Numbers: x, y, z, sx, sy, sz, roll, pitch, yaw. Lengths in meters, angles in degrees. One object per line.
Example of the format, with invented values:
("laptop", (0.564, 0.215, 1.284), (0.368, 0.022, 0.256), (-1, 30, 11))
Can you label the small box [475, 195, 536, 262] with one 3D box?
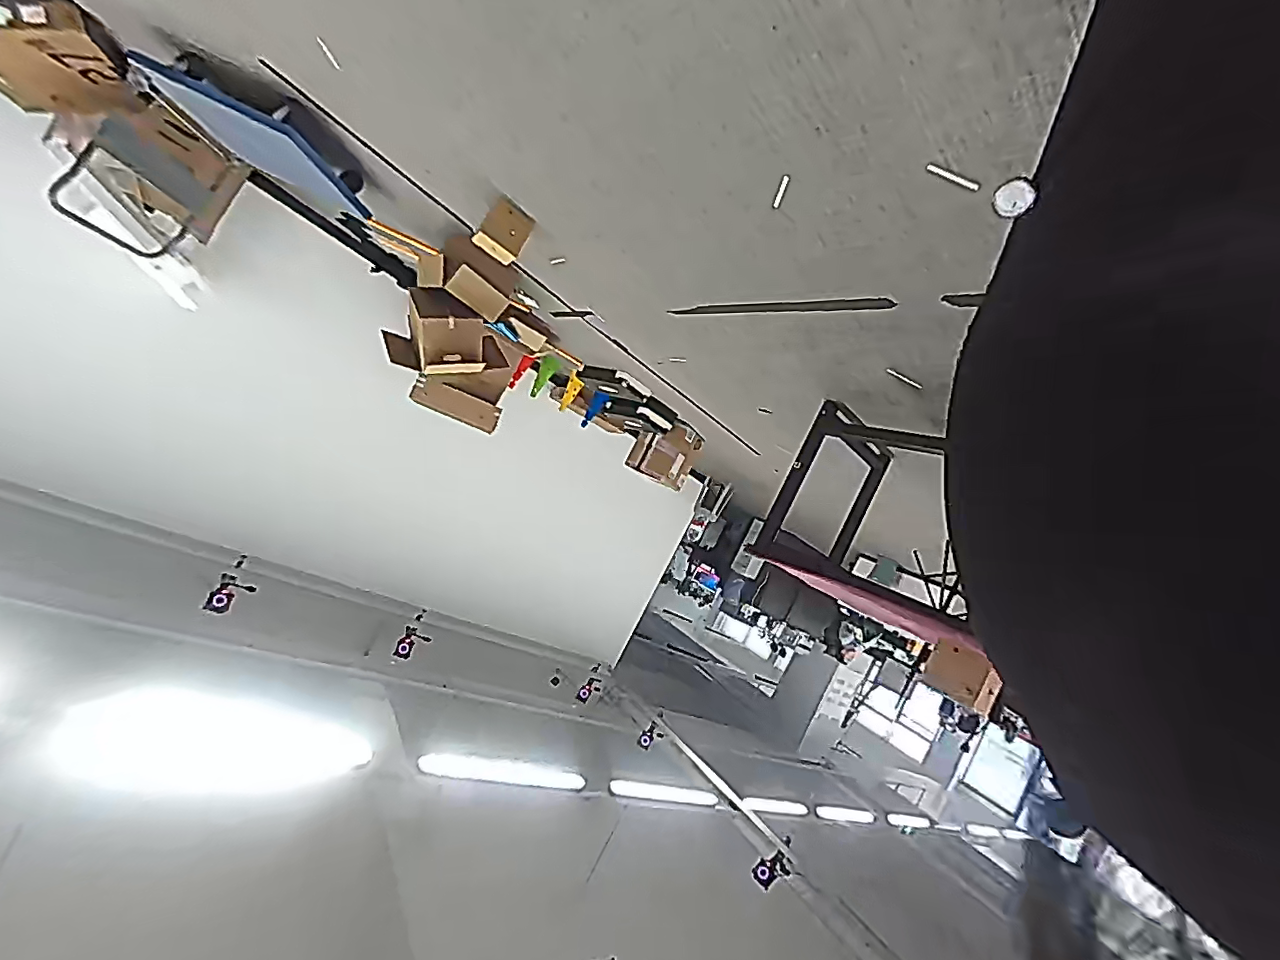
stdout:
("small box", (-0.547, -1.026, 2.205), (0.168, 0.176, 0.179), (30, 176, -29))
